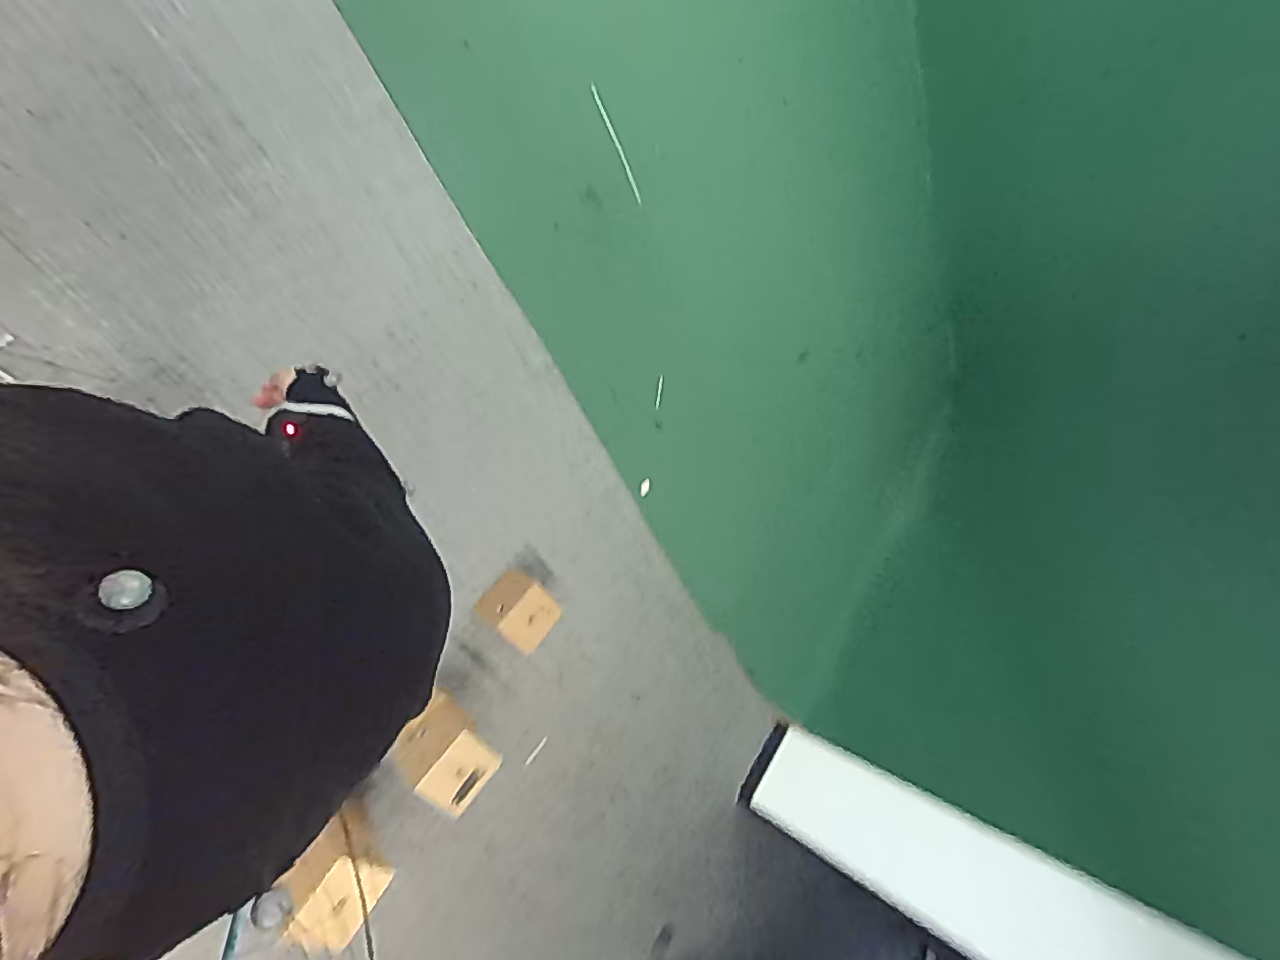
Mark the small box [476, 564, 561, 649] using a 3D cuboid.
[{"bbox_3d":[-0.393,0.394,1.709,0.179,0.176,0.168,-49,128,-24],"label":"small box"}]

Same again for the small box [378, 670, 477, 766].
[{"bbox_3d":[-0.616,0.676,1.559,0.168,0.176,0.179,-48,127,-24],"label":"small box"}]

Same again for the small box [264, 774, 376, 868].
[{"bbox_3d":[-0.835,0.907,1.405,0.179,0.176,0.168,-50,126,-23],"label":"small box"}]

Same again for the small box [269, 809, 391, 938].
[{"bbox_3d":[-0.735,0.921,1.277,0.179,0.176,0.168,-55,129,-20],"label":"small box"}]
